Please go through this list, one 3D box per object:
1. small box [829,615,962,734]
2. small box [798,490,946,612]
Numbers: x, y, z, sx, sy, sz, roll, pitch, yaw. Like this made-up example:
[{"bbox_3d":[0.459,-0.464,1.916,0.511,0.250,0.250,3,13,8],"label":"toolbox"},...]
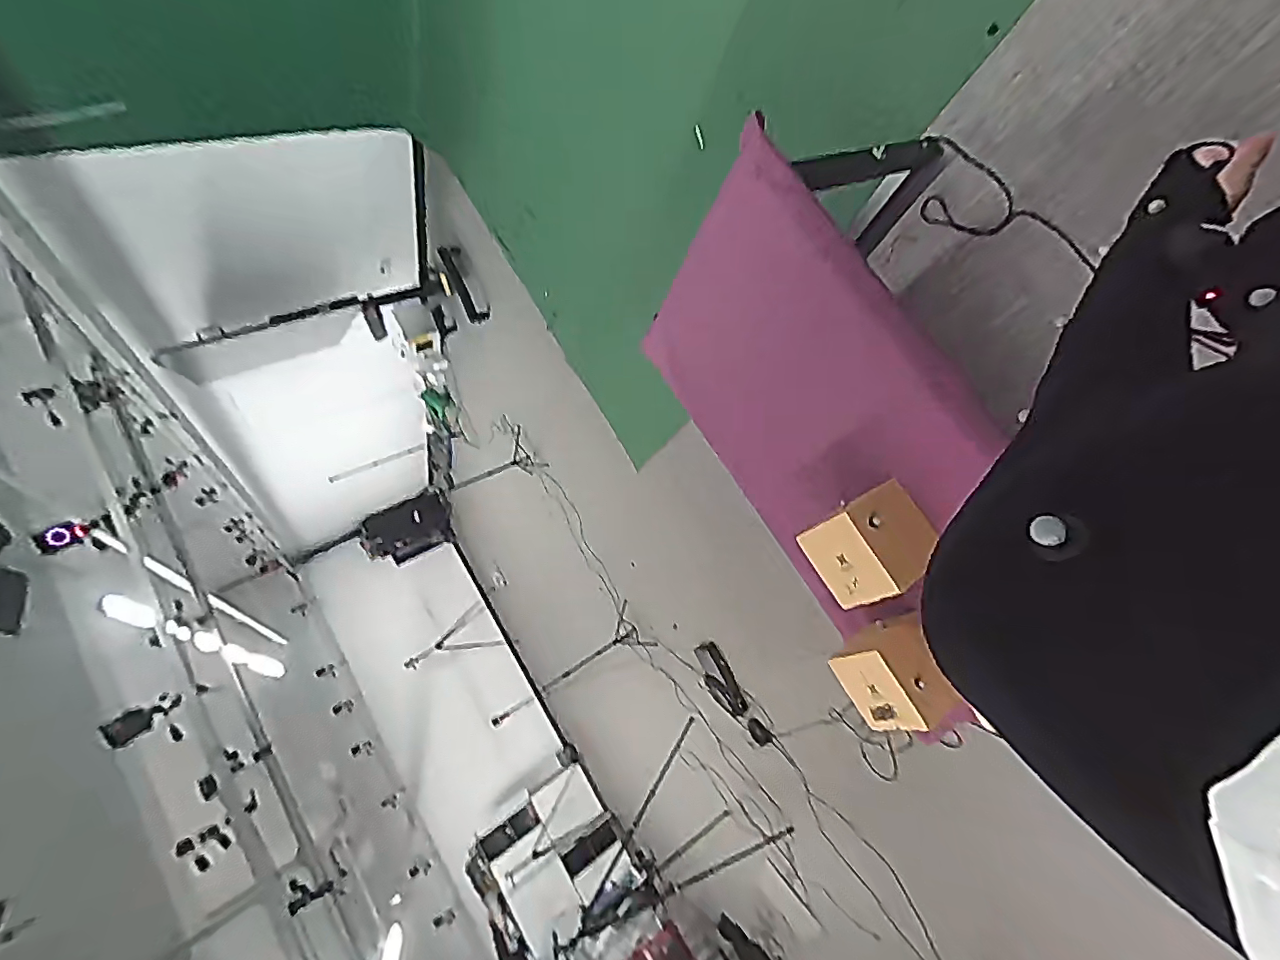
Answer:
[{"bbox_3d":[0.559,0.421,1.168,0.179,0.176,0.168,58,151,11],"label":"small box"},{"bbox_3d":[0.464,0.138,1.090,0.179,0.176,0.168,59,152,11],"label":"small box"}]
